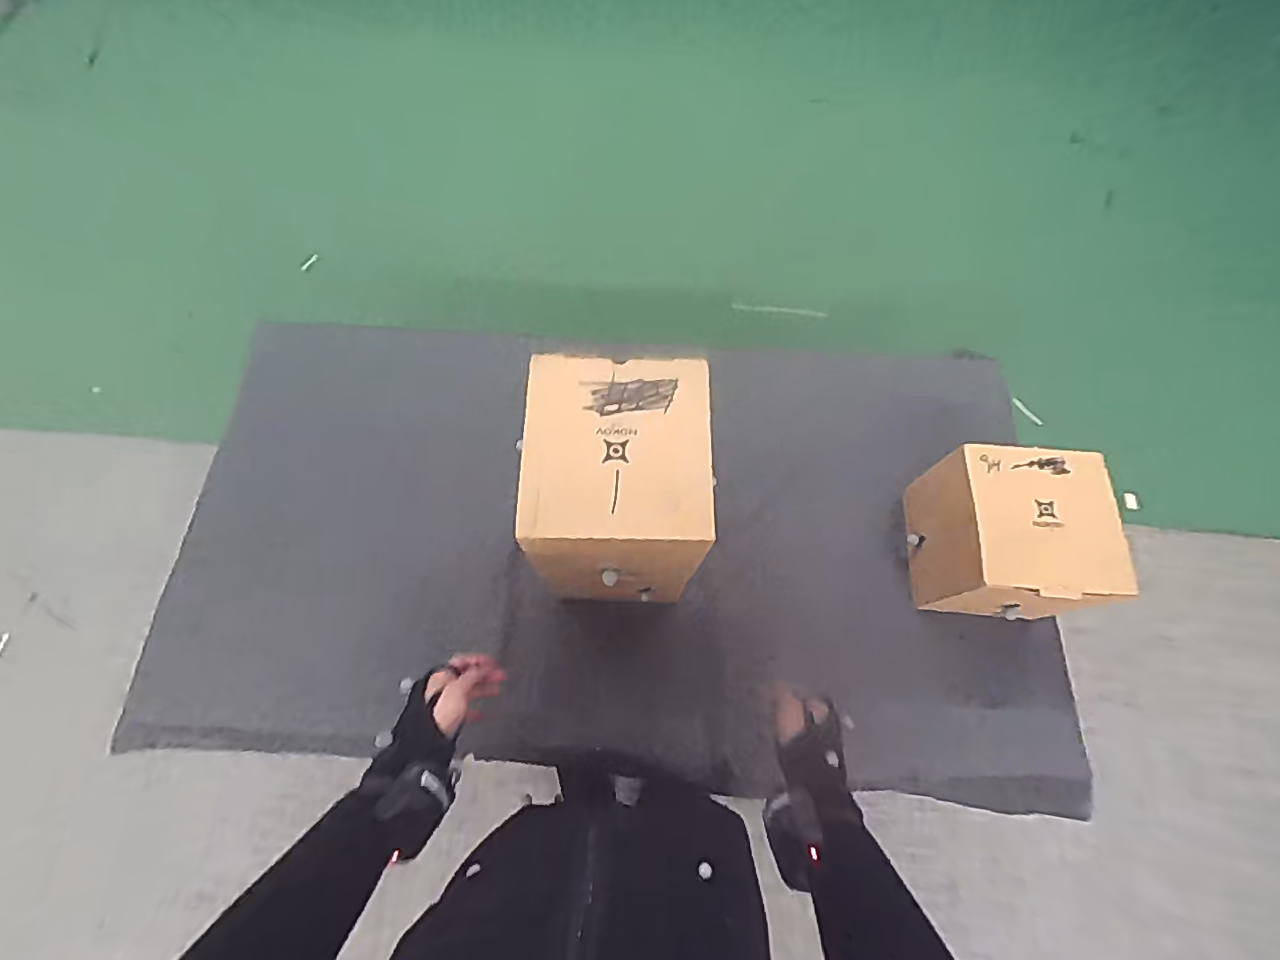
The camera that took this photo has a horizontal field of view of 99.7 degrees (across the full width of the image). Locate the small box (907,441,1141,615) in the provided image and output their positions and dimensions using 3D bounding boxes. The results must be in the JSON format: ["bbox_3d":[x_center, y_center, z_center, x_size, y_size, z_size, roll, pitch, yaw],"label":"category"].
[{"bbox_3d":[0.460,0.069,0.681,0.168,0.176,0.179,5,69,2],"label":"small box"}]

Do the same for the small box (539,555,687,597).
[{"bbox_3d":[-0.026,0.048,0.686,0.168,0.176,0.179,2,67,-1],"label":"small box"}]

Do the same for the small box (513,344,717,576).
[{"bbox_3d":[-0.021,-0.011,0.533,0.168,0.176,0.179,1,69,-1],"label":"small box"}]
